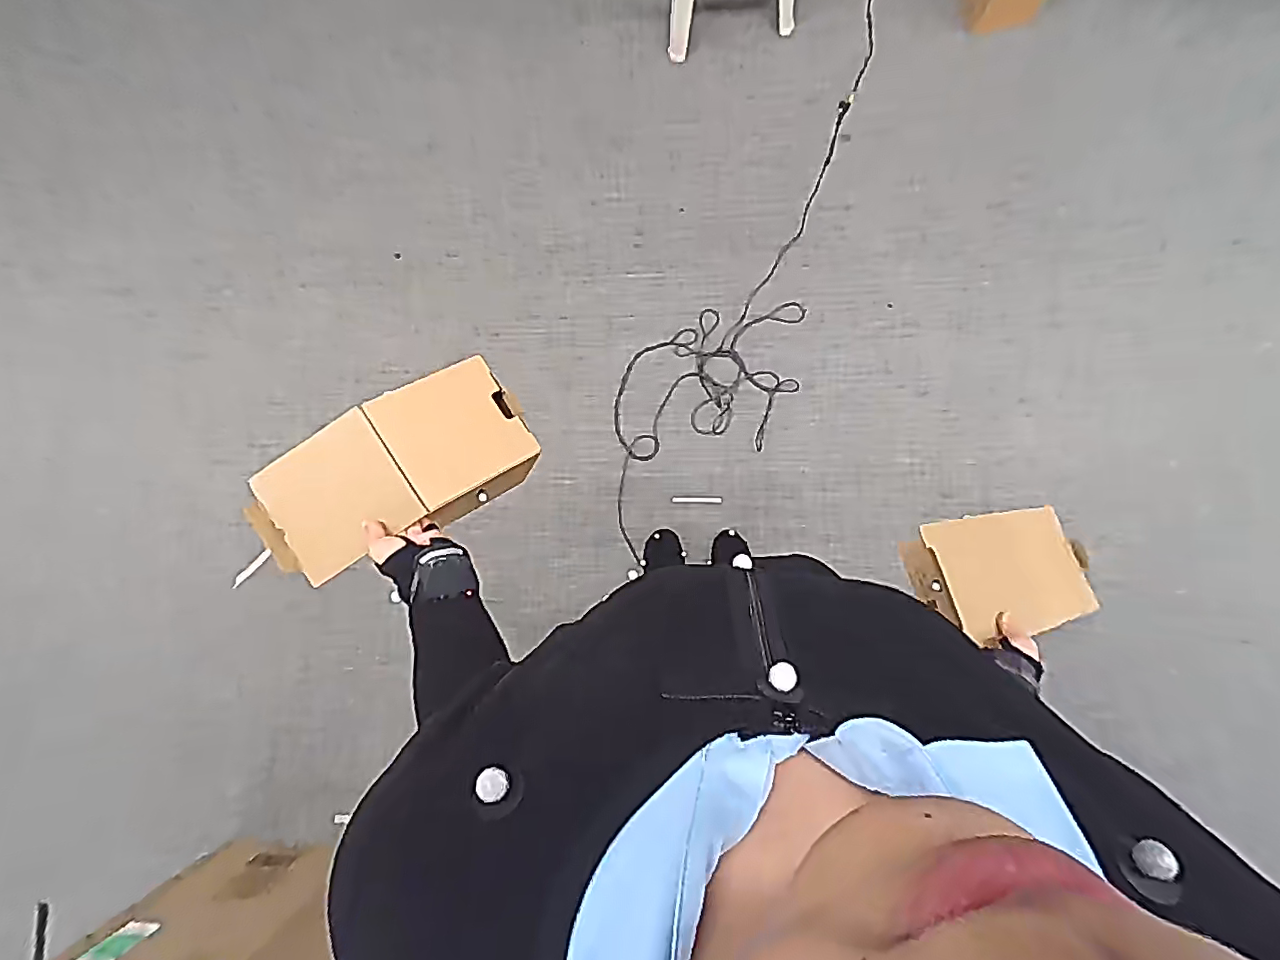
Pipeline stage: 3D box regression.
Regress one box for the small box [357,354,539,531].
[{"bbox_3d":[-0.272,-0.046,0.778,0.179,0.176,0.168,-32,88,-27],"label":"small box"}]
